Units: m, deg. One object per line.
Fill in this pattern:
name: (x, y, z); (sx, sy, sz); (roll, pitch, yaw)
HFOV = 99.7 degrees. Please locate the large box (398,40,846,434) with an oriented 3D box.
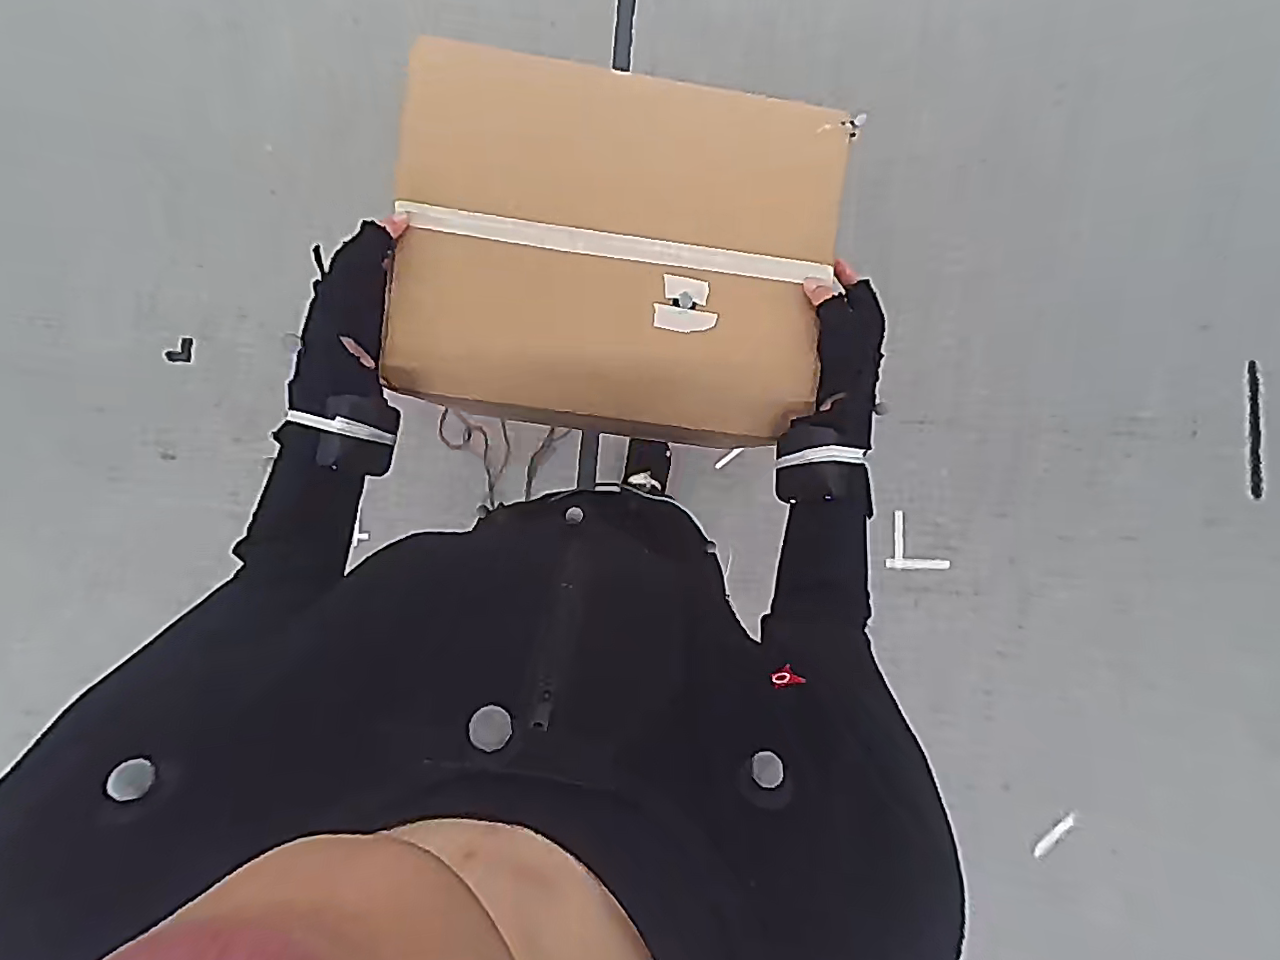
large box: (-0.026, -0.235, 0.658); (0.408, 0.320, 0.320); (7, 93, -5)
